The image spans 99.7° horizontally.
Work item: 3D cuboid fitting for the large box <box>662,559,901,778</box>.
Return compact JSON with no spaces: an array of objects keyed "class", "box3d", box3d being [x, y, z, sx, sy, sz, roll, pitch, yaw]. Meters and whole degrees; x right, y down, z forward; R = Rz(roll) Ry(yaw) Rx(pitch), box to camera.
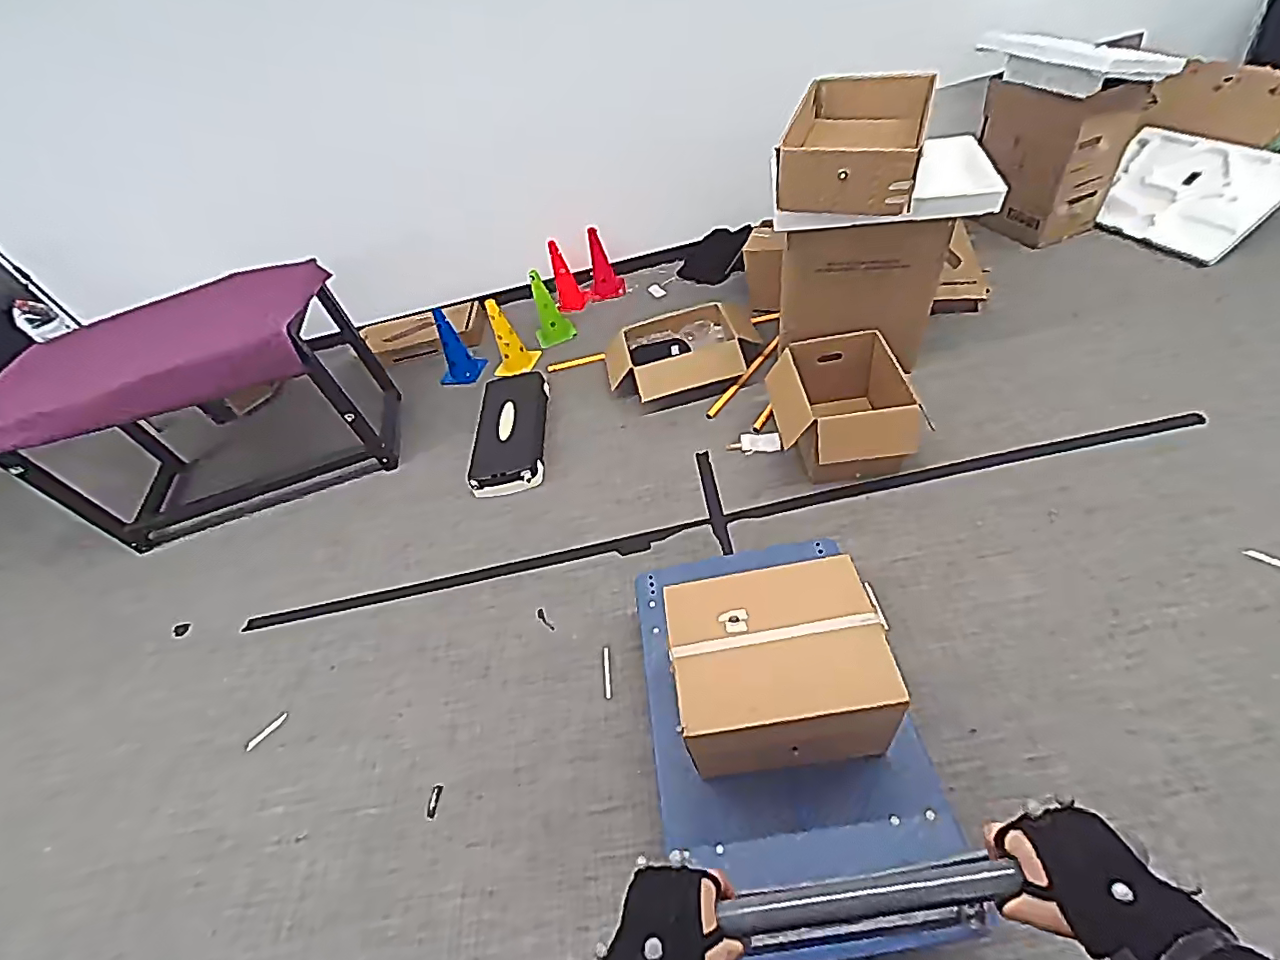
[{"class":"large box","box3d":[0.288,0.418,1.178,0.408,0.320,0.320,-12,46,5]}]
